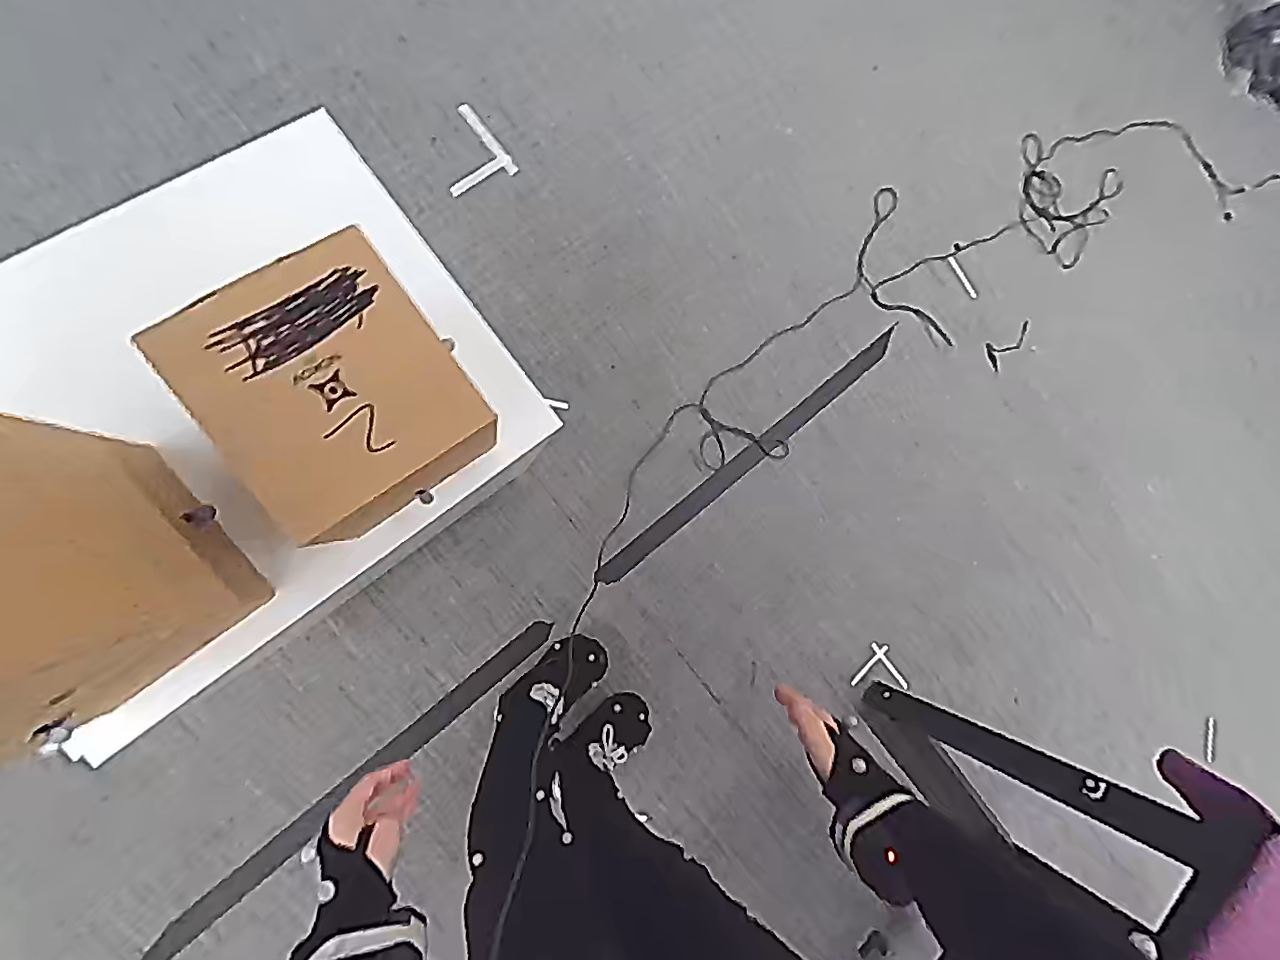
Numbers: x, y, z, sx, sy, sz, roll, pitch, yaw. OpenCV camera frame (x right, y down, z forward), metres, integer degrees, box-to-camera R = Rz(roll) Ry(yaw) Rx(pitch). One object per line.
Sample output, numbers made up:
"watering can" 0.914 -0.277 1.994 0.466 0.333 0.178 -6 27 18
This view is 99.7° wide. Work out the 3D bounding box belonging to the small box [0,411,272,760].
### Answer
"small box" -0.426 0.079 0.397 0.168 0.176 0.179 -39 96 -15
